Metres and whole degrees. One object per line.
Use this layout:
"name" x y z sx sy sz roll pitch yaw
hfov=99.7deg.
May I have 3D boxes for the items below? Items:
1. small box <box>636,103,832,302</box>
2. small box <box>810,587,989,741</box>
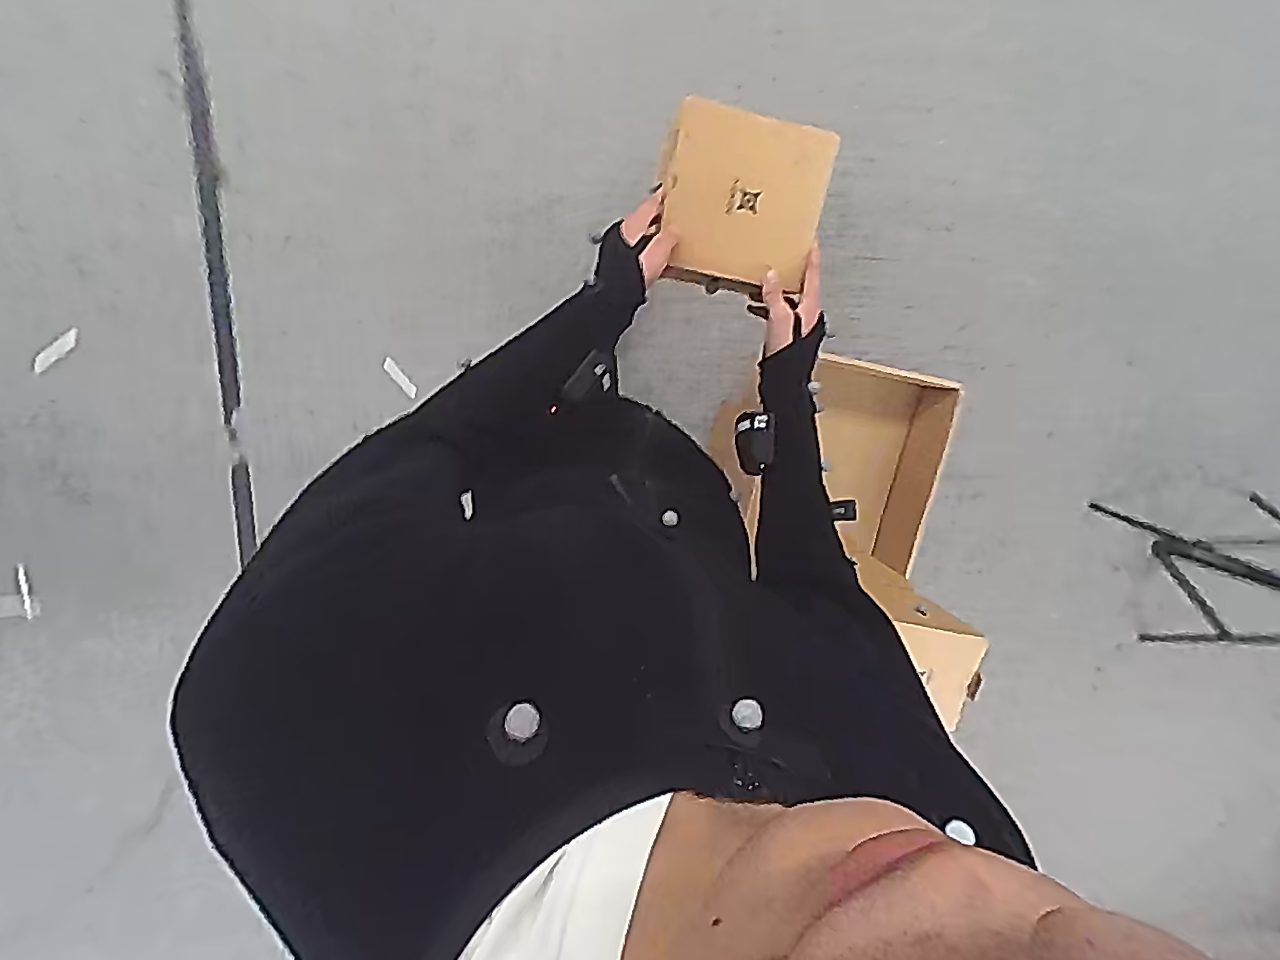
"small box" 0.097 -0.317 0.656 0.179 0.176 0.168 9 106 -7
"small box" 0.410 0.291 0.883 0.179 0.176 0.168 13 100 -10
